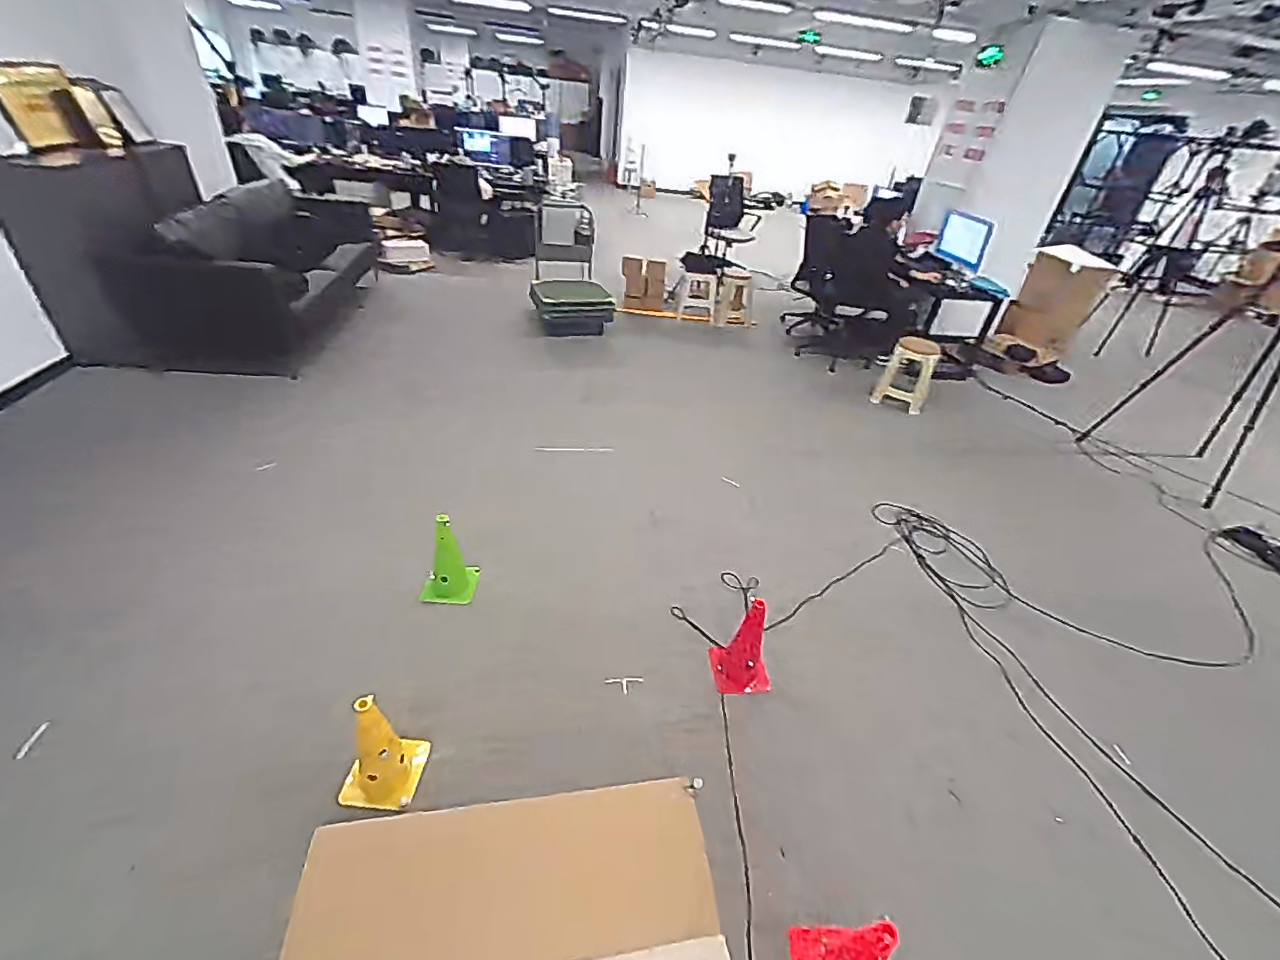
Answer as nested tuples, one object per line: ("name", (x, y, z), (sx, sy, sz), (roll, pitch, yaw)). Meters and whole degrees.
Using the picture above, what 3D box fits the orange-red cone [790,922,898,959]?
("orange-red cone", (0.492, 1.064, 1.208), (0.199, 0.360, 0.198), (6, 36, -4))

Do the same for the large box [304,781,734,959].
("large box", (-0.120, 0.576, 0.588), (0.408, 0.320, 0.320), (-2, 43, -11))

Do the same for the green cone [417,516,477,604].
("green cone", (-0.765, 0.285, 2.093), (0.200, 0.368, 0.202), (4, 37, -4))
